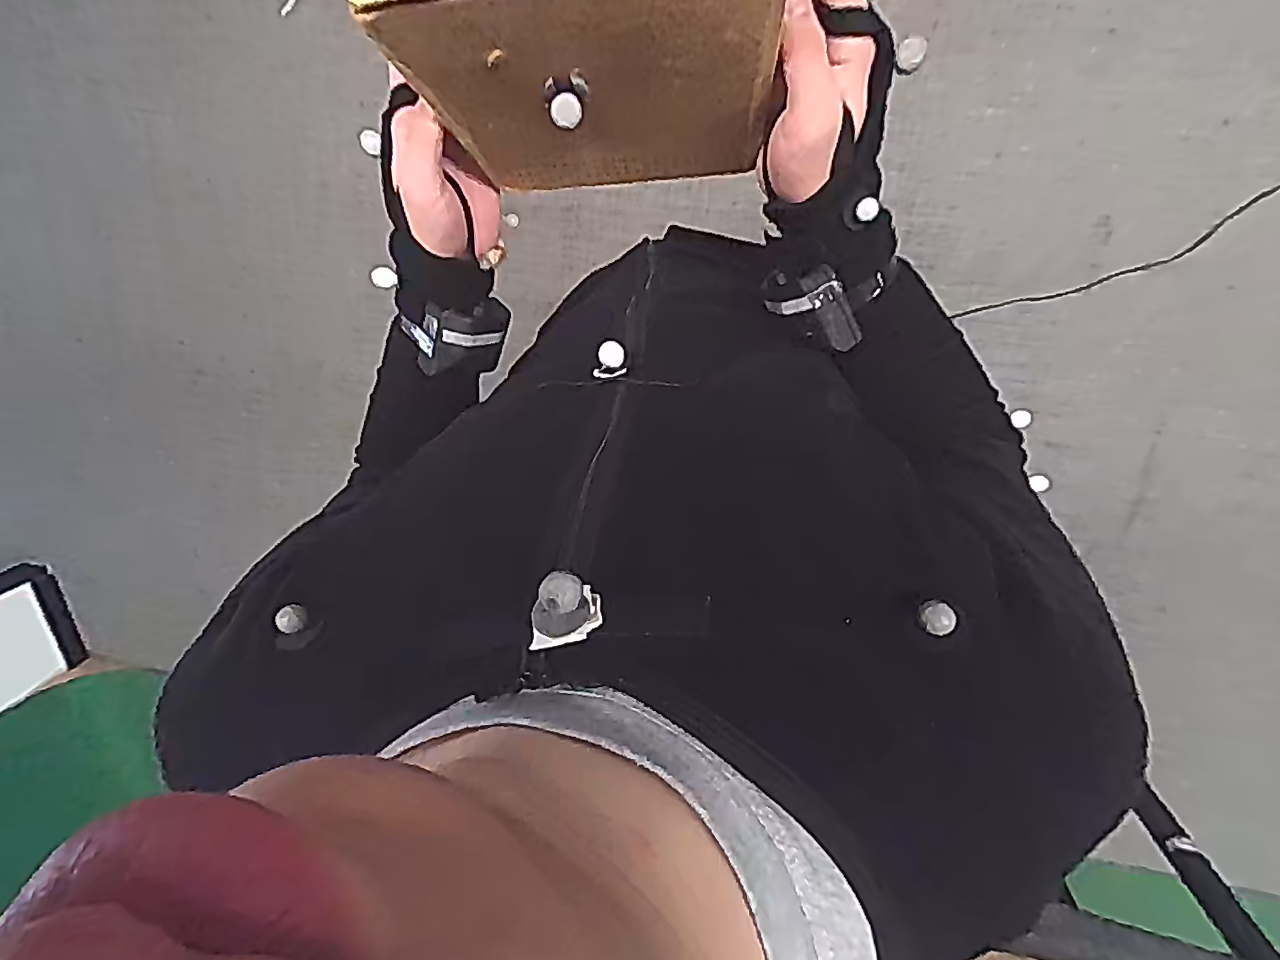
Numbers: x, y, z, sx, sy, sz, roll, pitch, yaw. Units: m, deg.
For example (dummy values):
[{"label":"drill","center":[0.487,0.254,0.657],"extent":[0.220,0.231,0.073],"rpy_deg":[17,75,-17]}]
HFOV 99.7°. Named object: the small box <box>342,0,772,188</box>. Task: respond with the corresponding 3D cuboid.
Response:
[{"label":"small box","center":[-0.024,-0.272,0.277],"extent":[0.179,0.176,0.168],"rpy_deg":[-1,94,7]}]
